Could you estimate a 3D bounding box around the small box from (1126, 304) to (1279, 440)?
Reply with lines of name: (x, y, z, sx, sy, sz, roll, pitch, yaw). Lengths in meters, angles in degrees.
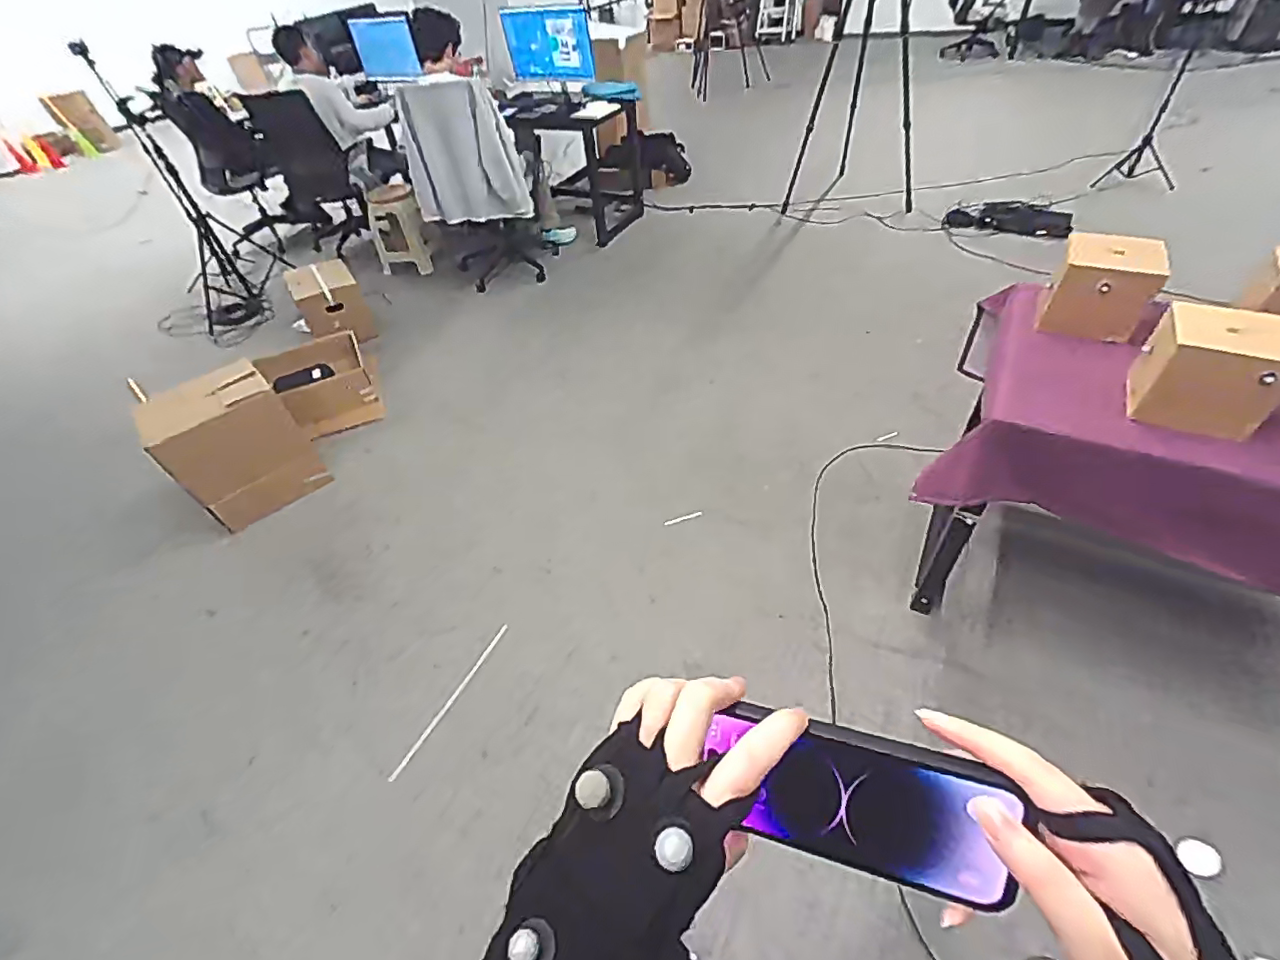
small box: (1.043, -0.199, 0.998, 0.179, 0.176, 0.168, 21, 52, 24)
